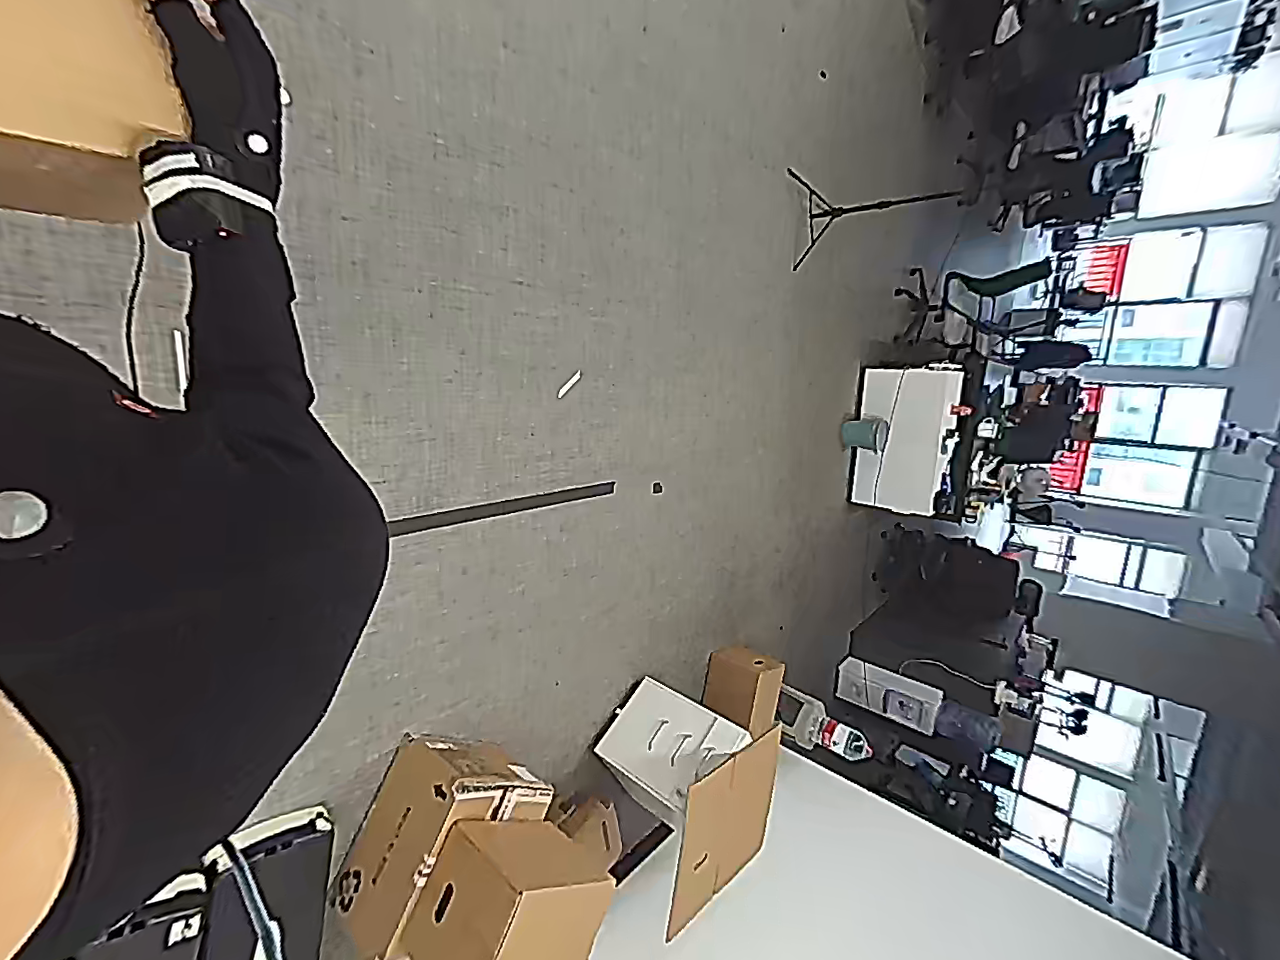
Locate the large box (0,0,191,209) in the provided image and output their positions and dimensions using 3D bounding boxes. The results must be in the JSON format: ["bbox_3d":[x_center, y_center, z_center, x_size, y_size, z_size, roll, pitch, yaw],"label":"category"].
[{"bbox_3d":[-0.603,-0.395,0.343,0.408,0.320,0.320,-16,112,-49],"label":"large box"}]
